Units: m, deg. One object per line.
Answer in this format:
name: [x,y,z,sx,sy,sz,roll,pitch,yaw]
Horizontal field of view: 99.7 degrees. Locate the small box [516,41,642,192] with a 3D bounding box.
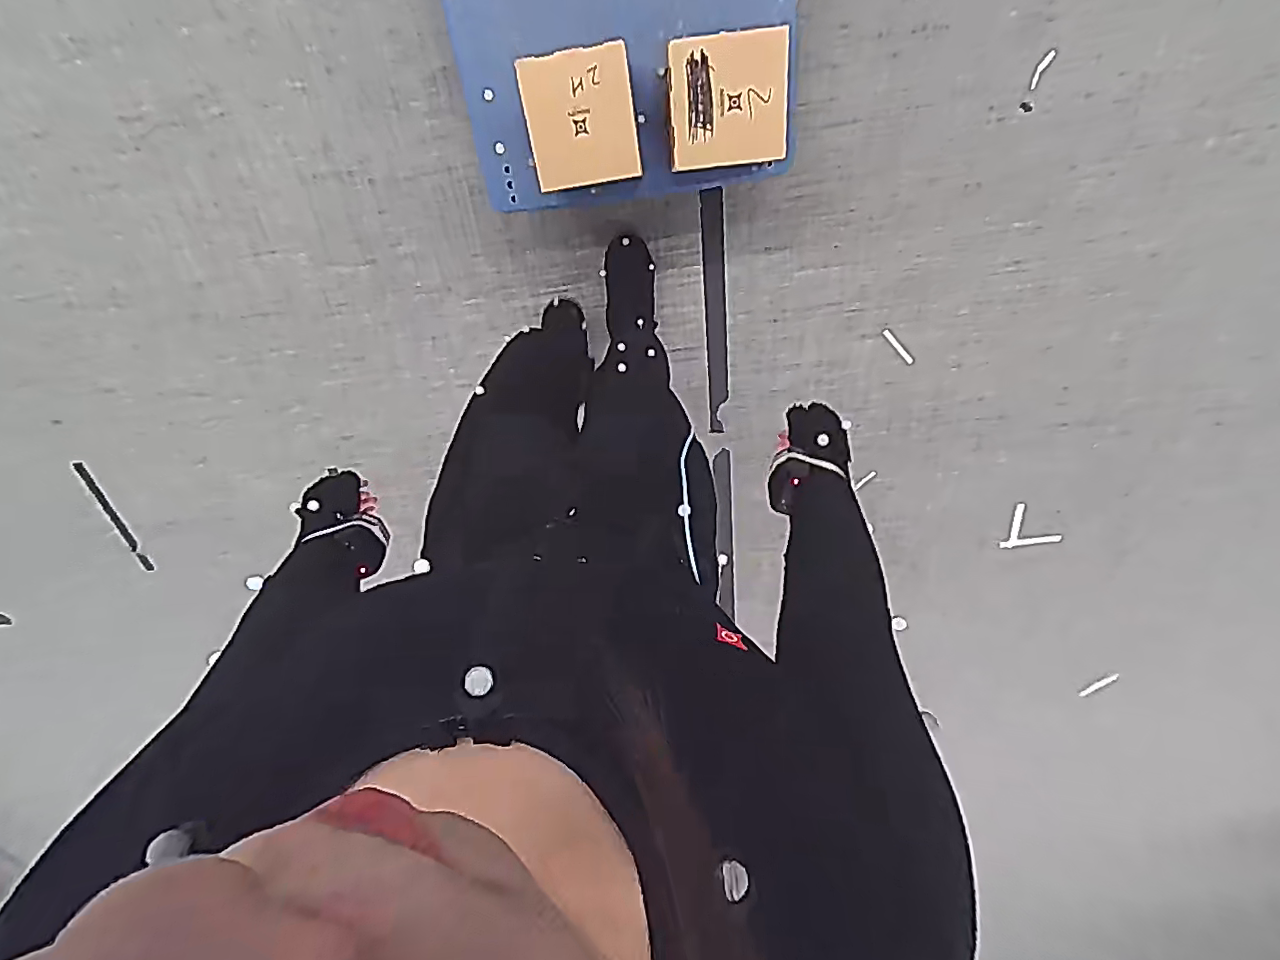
small box: [-0.088,-0.588,0.891,0.168,0.176,0.179,-7,120,5]
